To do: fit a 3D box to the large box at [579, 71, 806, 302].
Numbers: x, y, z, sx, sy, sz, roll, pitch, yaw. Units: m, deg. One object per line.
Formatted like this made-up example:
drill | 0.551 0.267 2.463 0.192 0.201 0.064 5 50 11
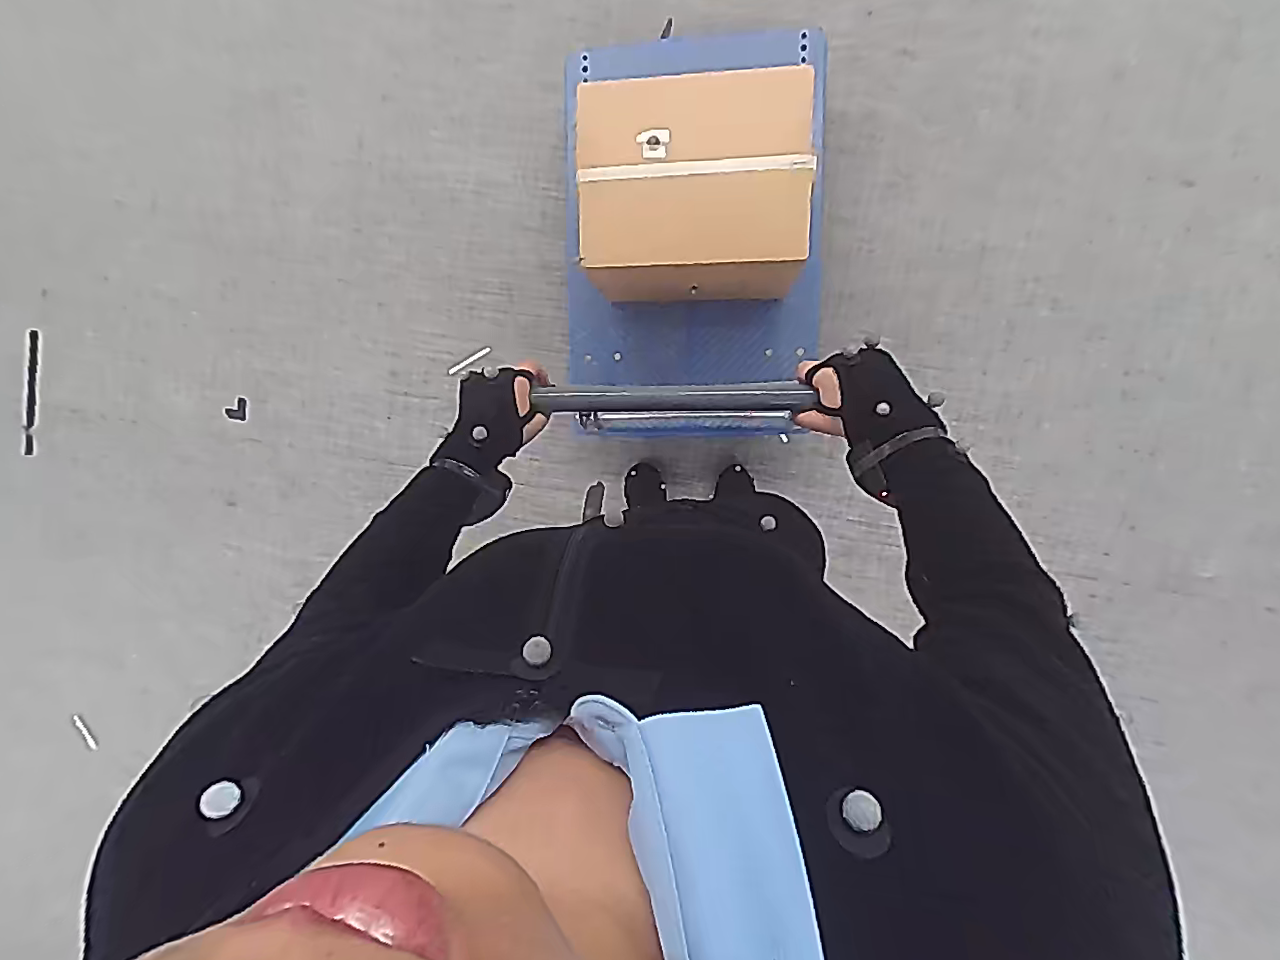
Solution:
large box | 0.111 -0.558 1.105 0.408 0.320 0.320 0 96 8
